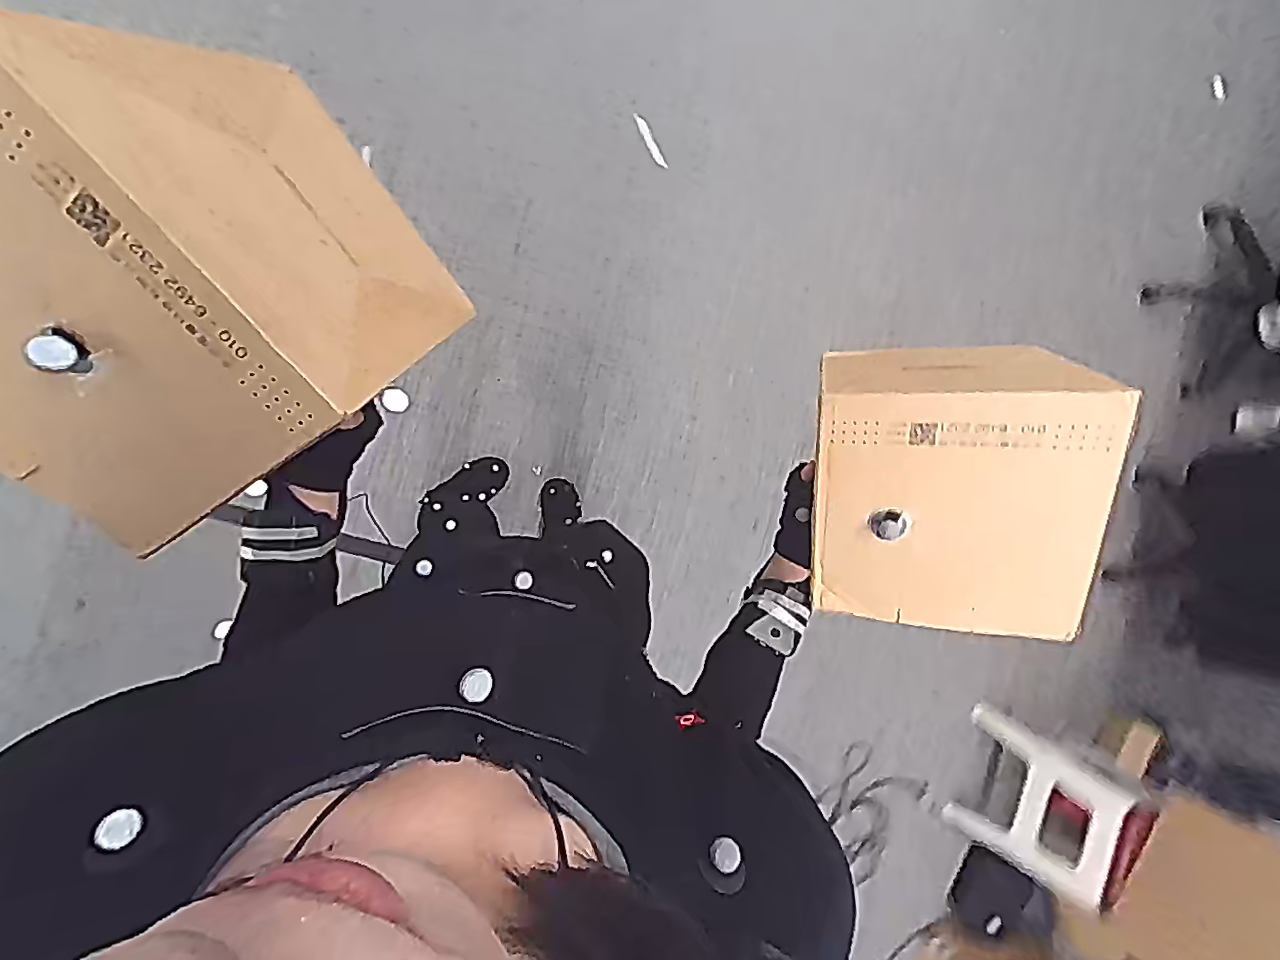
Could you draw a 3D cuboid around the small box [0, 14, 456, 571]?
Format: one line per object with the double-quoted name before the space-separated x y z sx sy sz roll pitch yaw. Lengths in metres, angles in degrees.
"small box" -0.232 -0.092 0.283 0.176 0.179 0.168 -29 116 19
